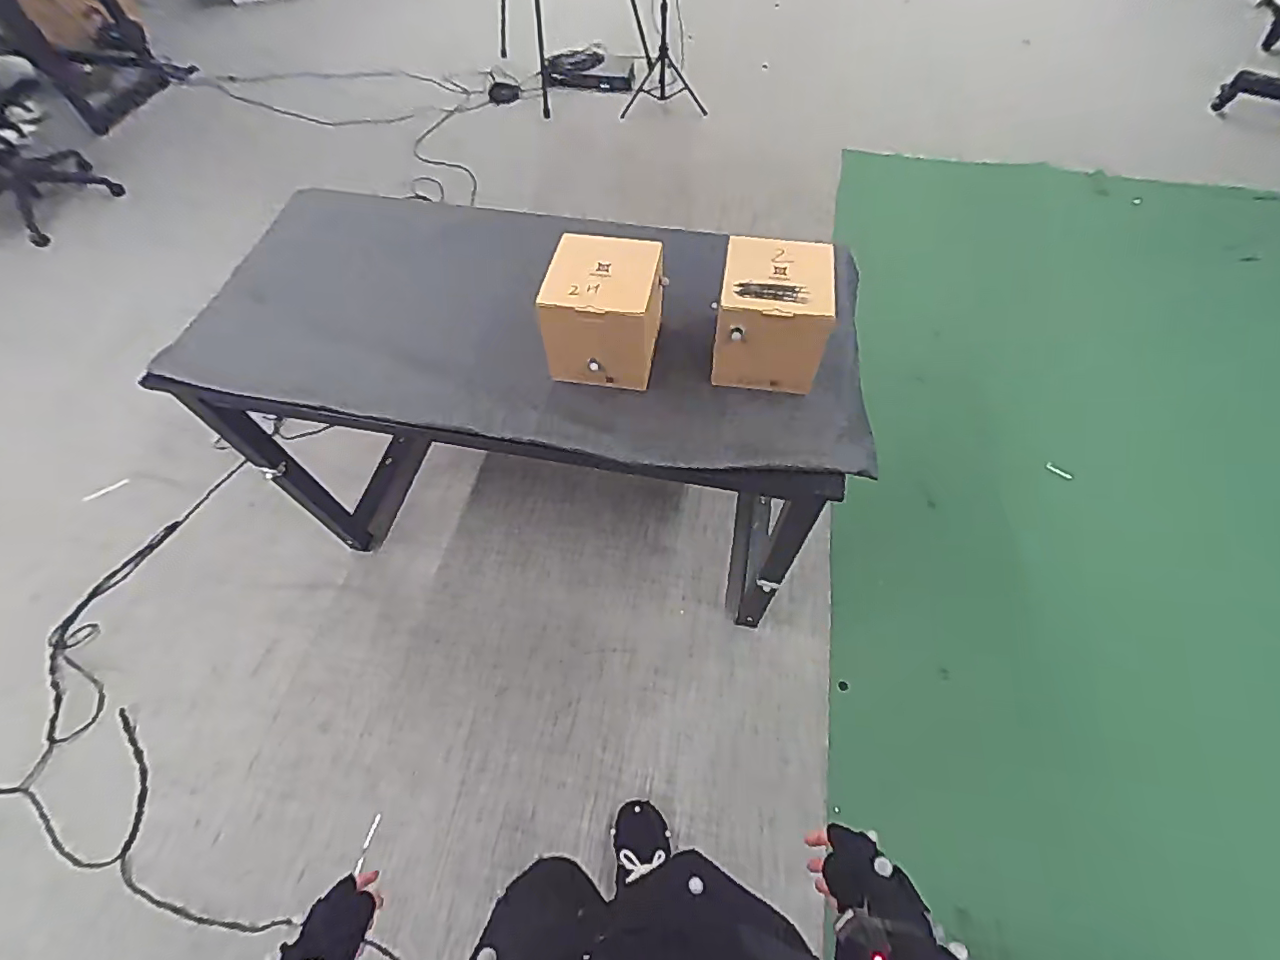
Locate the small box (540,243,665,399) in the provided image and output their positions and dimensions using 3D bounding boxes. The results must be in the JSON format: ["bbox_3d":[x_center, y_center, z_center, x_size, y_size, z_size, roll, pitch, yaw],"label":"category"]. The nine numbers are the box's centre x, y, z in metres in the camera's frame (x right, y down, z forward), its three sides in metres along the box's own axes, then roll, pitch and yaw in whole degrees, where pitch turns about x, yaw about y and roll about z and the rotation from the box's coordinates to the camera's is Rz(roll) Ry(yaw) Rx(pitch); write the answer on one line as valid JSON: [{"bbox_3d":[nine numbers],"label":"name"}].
[{"bbox_3d":[-0.055,-0.263,0.902,0.168,0.176,0.179,8,58,6],"label":"small box"}]
